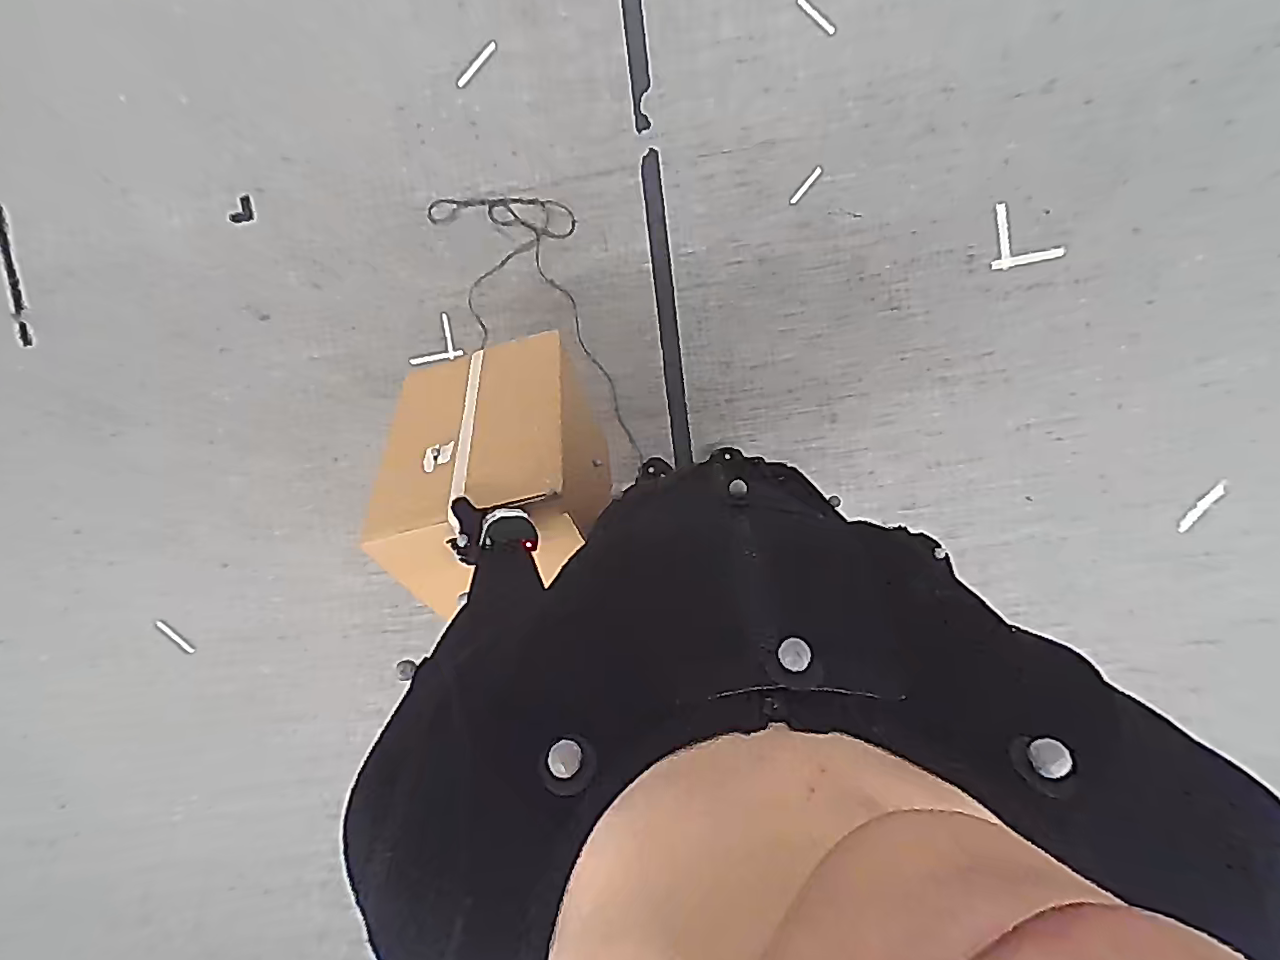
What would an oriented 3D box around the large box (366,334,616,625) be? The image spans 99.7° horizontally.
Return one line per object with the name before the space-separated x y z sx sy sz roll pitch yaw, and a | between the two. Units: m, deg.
large box | -0.246 -0.001 1.014 0.320 0.408 0.320 -15 139 7
